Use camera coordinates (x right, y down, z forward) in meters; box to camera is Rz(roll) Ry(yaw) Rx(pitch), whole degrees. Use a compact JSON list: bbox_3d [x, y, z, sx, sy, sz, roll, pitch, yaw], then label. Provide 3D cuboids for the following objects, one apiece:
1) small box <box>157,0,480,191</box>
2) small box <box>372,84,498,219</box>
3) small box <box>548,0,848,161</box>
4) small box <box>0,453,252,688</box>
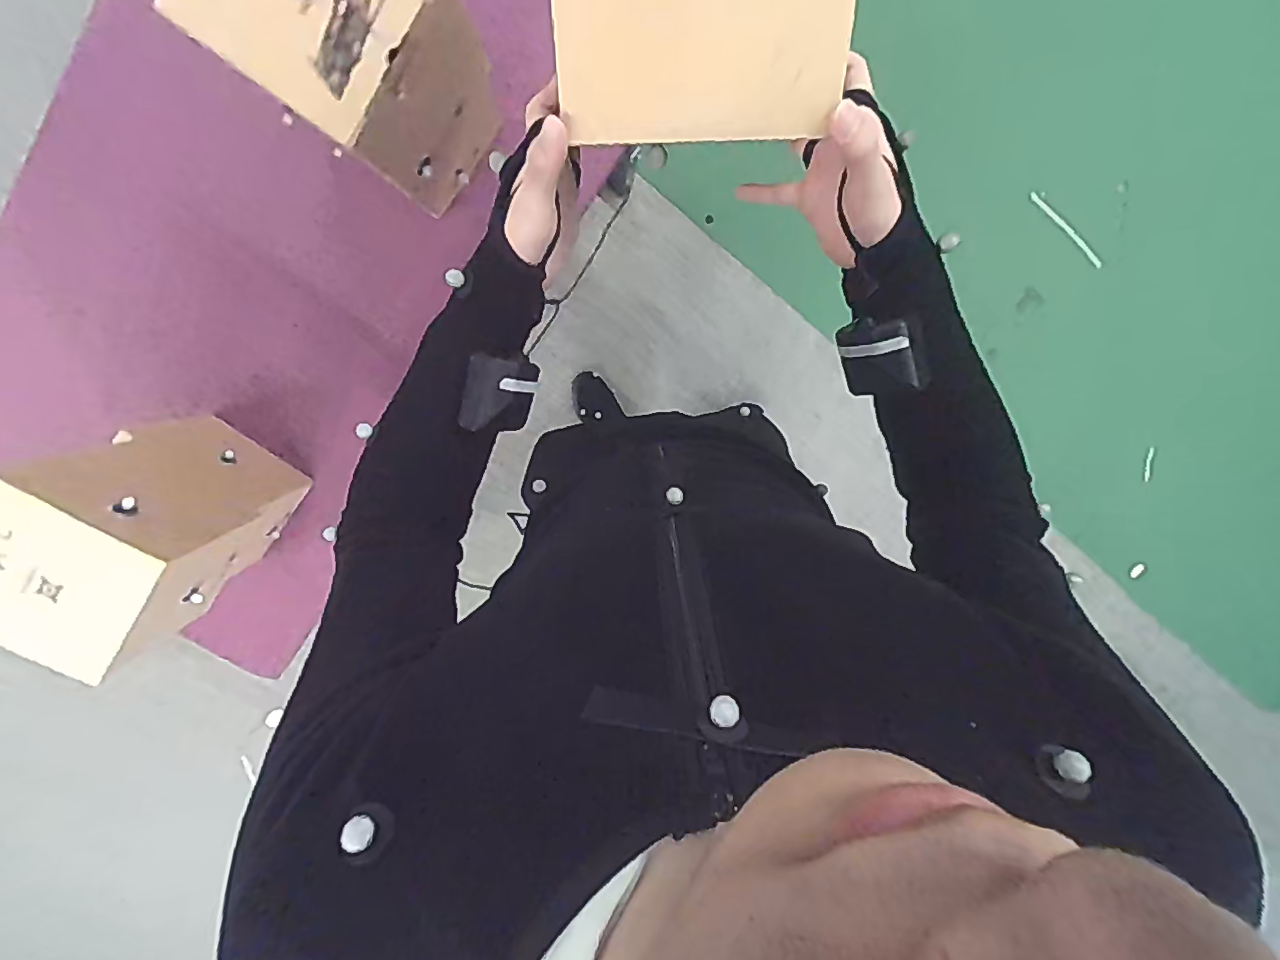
[{"bbox_3d":[-0.282,-0.411,0.520,0.179,0.176,0.168,35,99,-9],"label":"small box"},{"bbox_3d":[-0.306,-0.460,0.675,0.179,0.176,0.168,37,99,-10],"label":"small box"},{"bbox_3d":[0.032,-0.313,0.354,0.168,0.176,0.179,-1,120,0],"label":"small box"},{"bbox_3d":[-0.595,0.087,0.608,0.179,0.176,0.168,34,98,-12],"label":"small box"}]
